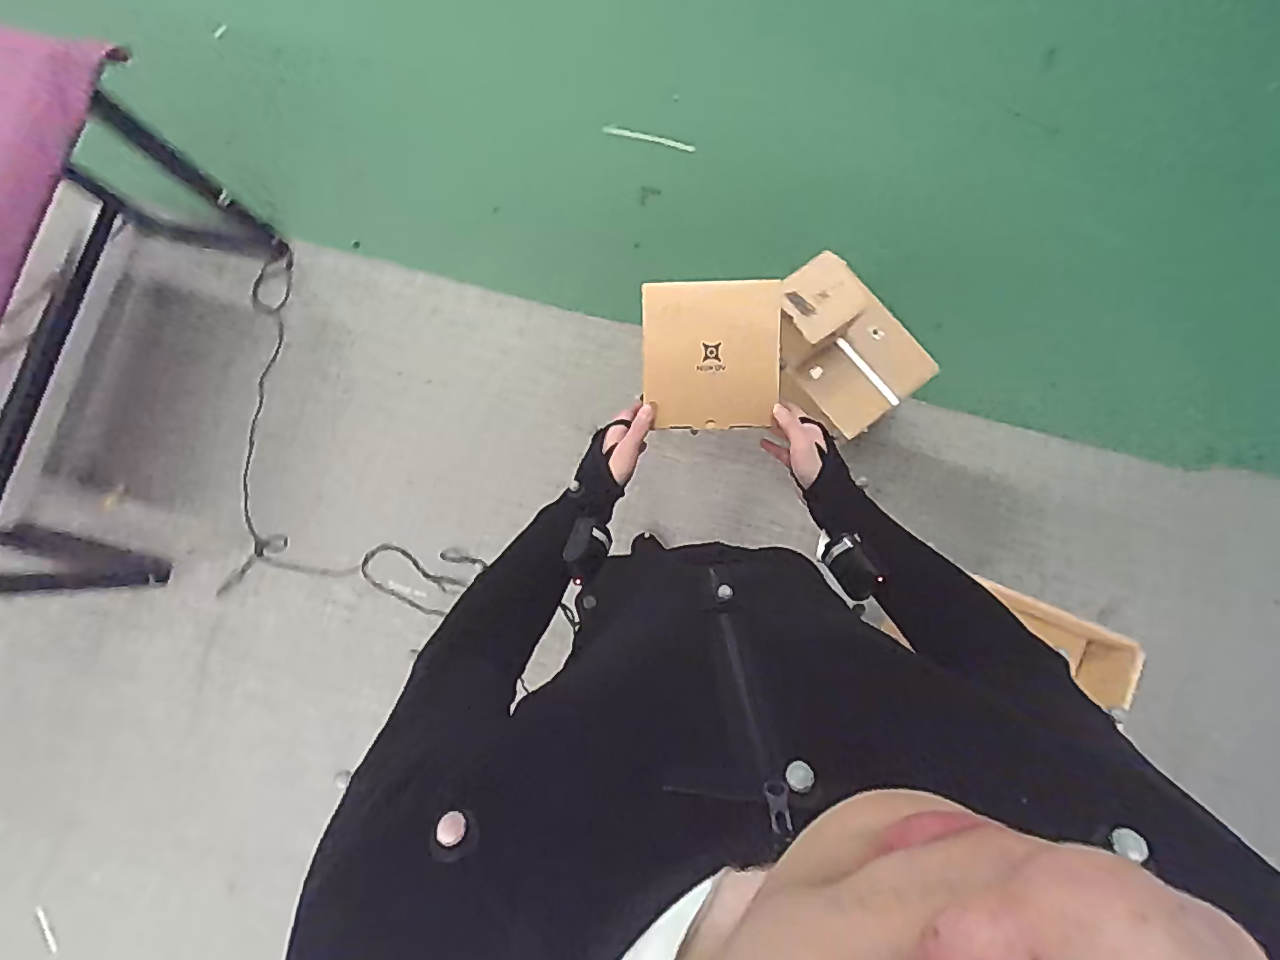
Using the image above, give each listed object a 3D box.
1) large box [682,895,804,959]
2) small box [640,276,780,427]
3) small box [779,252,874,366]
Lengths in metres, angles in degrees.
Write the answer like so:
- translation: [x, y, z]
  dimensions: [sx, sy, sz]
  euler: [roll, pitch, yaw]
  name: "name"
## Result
- translation: [0.238, 1.376, 1.326]
  dimensions: [0.320, 0.320, 0.408]
  euler: [39, 84, 6]
  name: "large box"
- translation: [0.084, -0.163, 0.723]
  dimensions: [0.168, 0.176, 0.179]
  euler: [-2, 100, 1]
  name: "small box"
- translation: [0.422, -0.404, 1.311]
  dimensions: [0.179, 0.176, 0.168]
  euler: [-35, 84, -3]
  name: "small box"
